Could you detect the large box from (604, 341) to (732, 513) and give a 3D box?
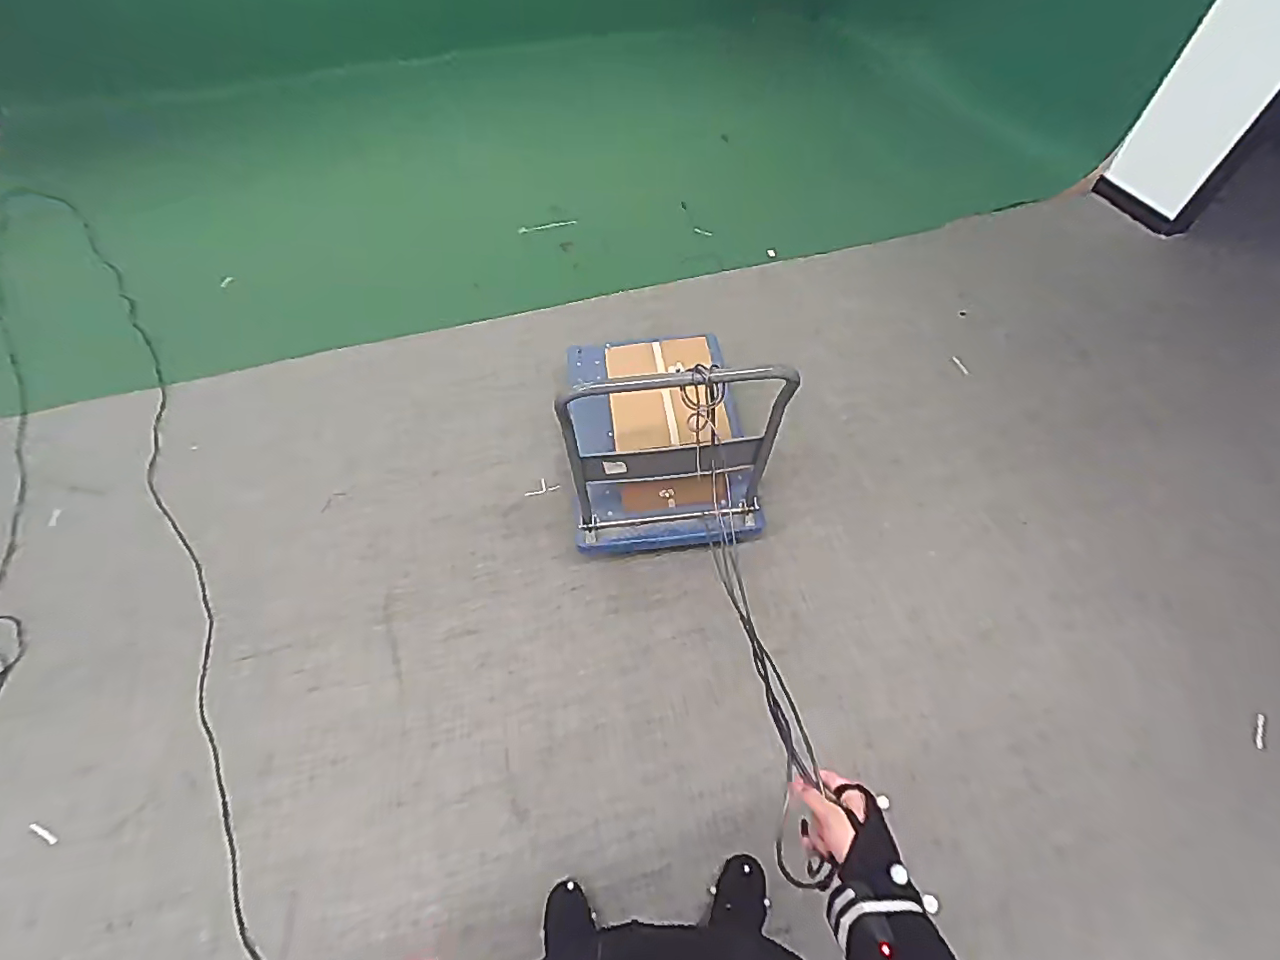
[{"bbox_3d":[0.075,-0.158,1.646,0.320,0.320,0.408,-7,55,-2],"label":"large box"}]
